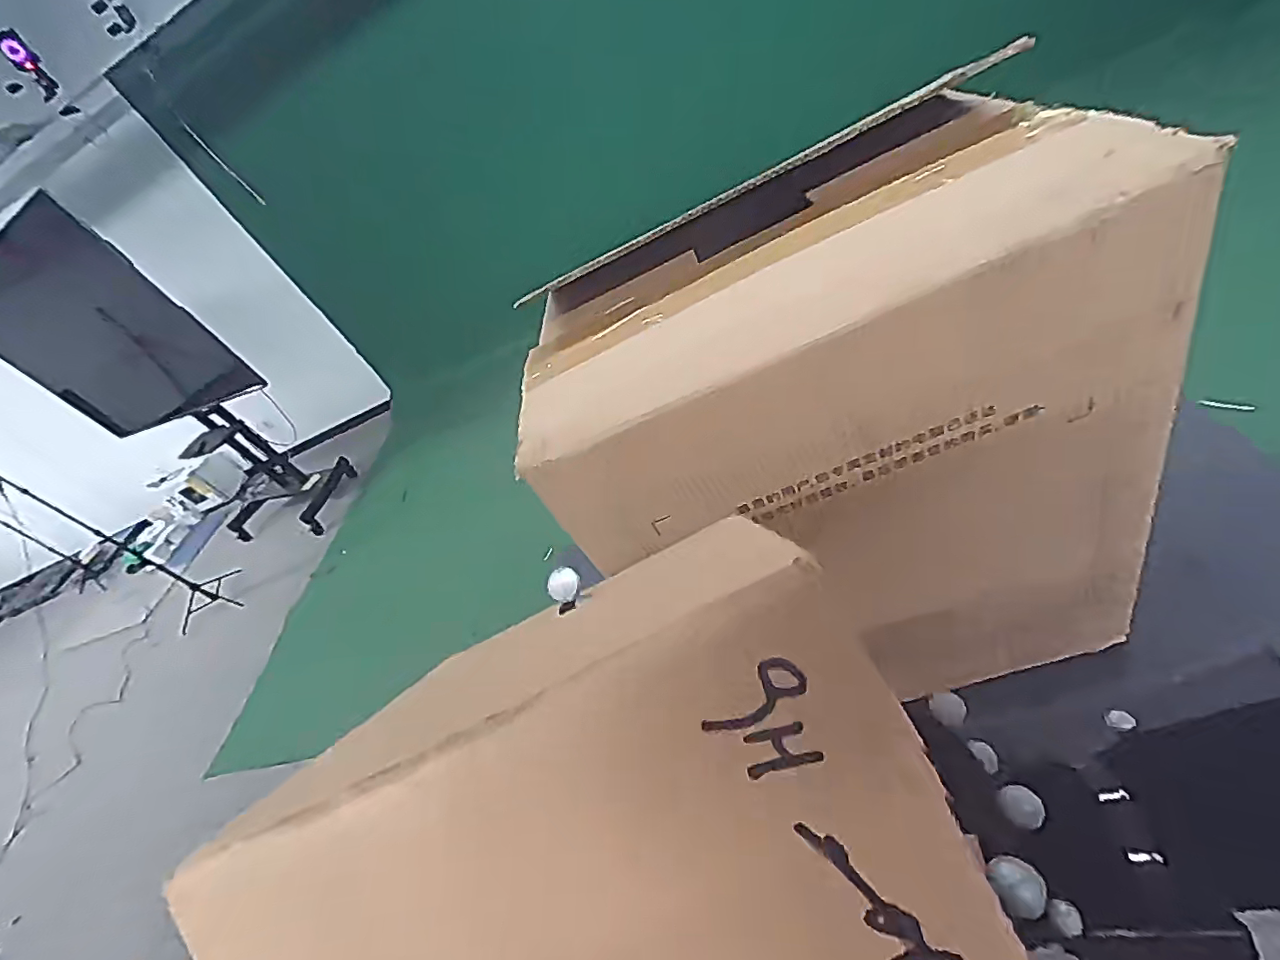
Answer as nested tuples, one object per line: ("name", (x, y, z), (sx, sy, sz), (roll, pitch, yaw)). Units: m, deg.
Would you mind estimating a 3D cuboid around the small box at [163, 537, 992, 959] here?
("small box", (0.002, 0.135, 0.201), (0.179, 0.168, 0.176), (-26, -1, 3))
